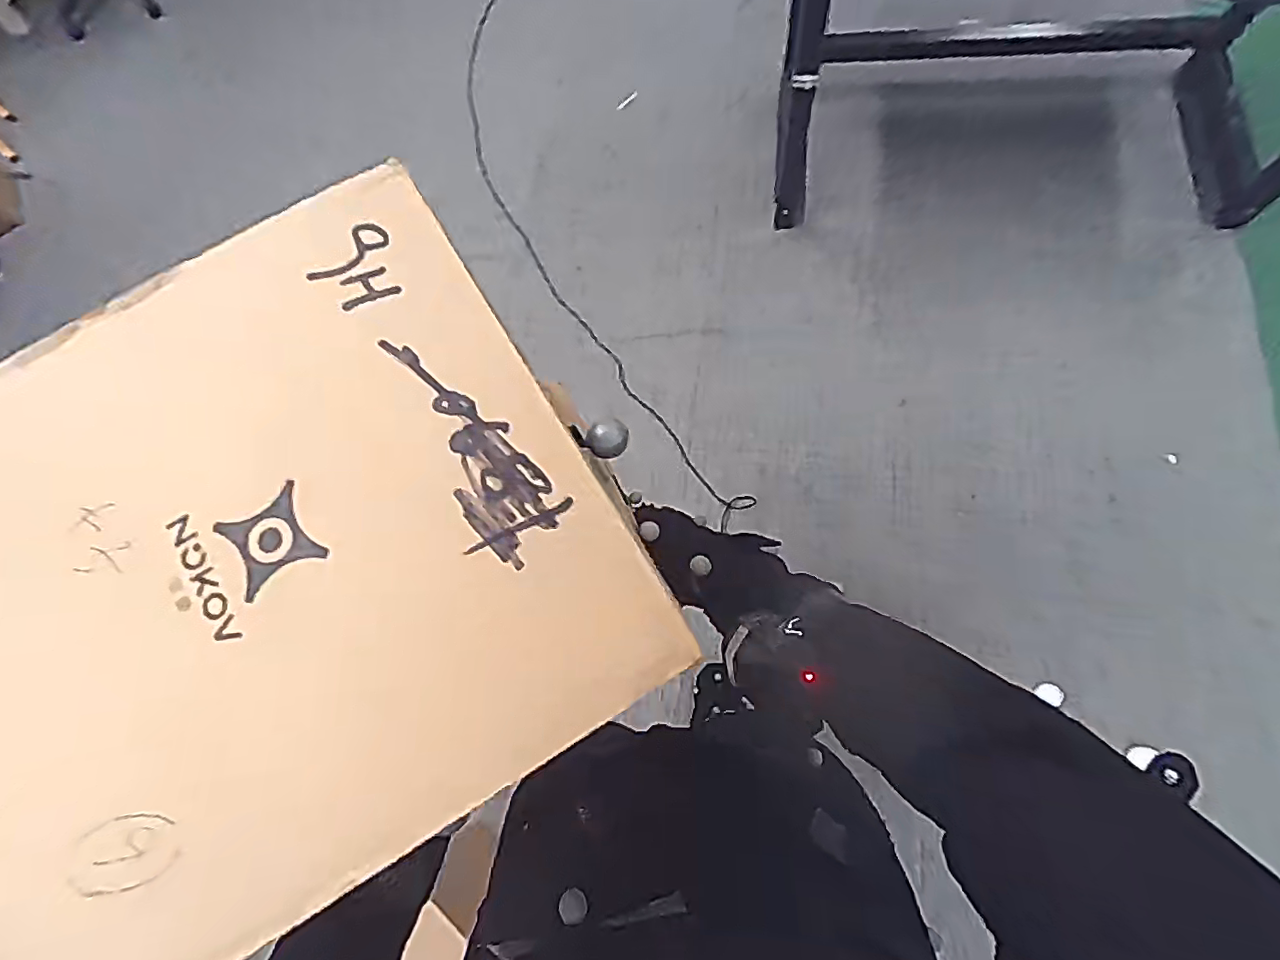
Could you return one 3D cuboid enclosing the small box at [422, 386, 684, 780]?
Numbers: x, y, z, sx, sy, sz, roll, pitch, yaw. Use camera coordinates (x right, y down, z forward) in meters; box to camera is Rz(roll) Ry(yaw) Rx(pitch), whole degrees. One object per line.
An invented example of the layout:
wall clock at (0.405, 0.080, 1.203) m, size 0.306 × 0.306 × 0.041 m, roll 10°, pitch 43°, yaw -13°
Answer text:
small box at (-0.080, 0.064, 0.387) m, size 0.168 × 0.176 × 0.179 m, roll -29°, pitch 80°, yaw -3°
